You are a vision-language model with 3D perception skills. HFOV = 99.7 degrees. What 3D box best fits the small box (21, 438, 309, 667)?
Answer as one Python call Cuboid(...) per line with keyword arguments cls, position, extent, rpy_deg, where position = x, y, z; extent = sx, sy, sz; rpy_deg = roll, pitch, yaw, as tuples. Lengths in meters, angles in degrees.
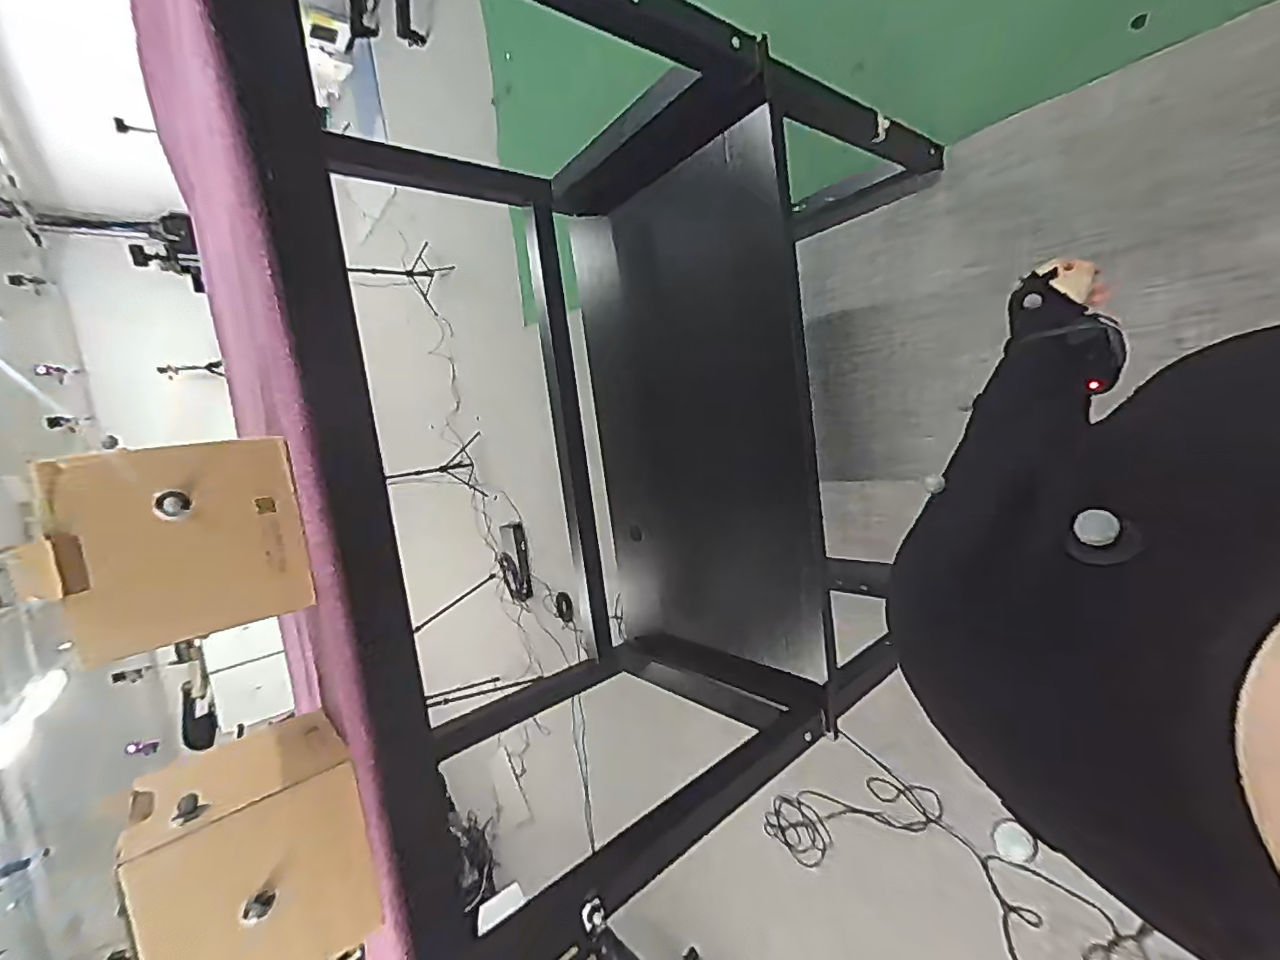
Cuboid(cls="small box", position=(-0.433, 0.049, 0.521), extent=(0.179, 0.176, 0.168), rpy_deg=(4, 102, 51))
